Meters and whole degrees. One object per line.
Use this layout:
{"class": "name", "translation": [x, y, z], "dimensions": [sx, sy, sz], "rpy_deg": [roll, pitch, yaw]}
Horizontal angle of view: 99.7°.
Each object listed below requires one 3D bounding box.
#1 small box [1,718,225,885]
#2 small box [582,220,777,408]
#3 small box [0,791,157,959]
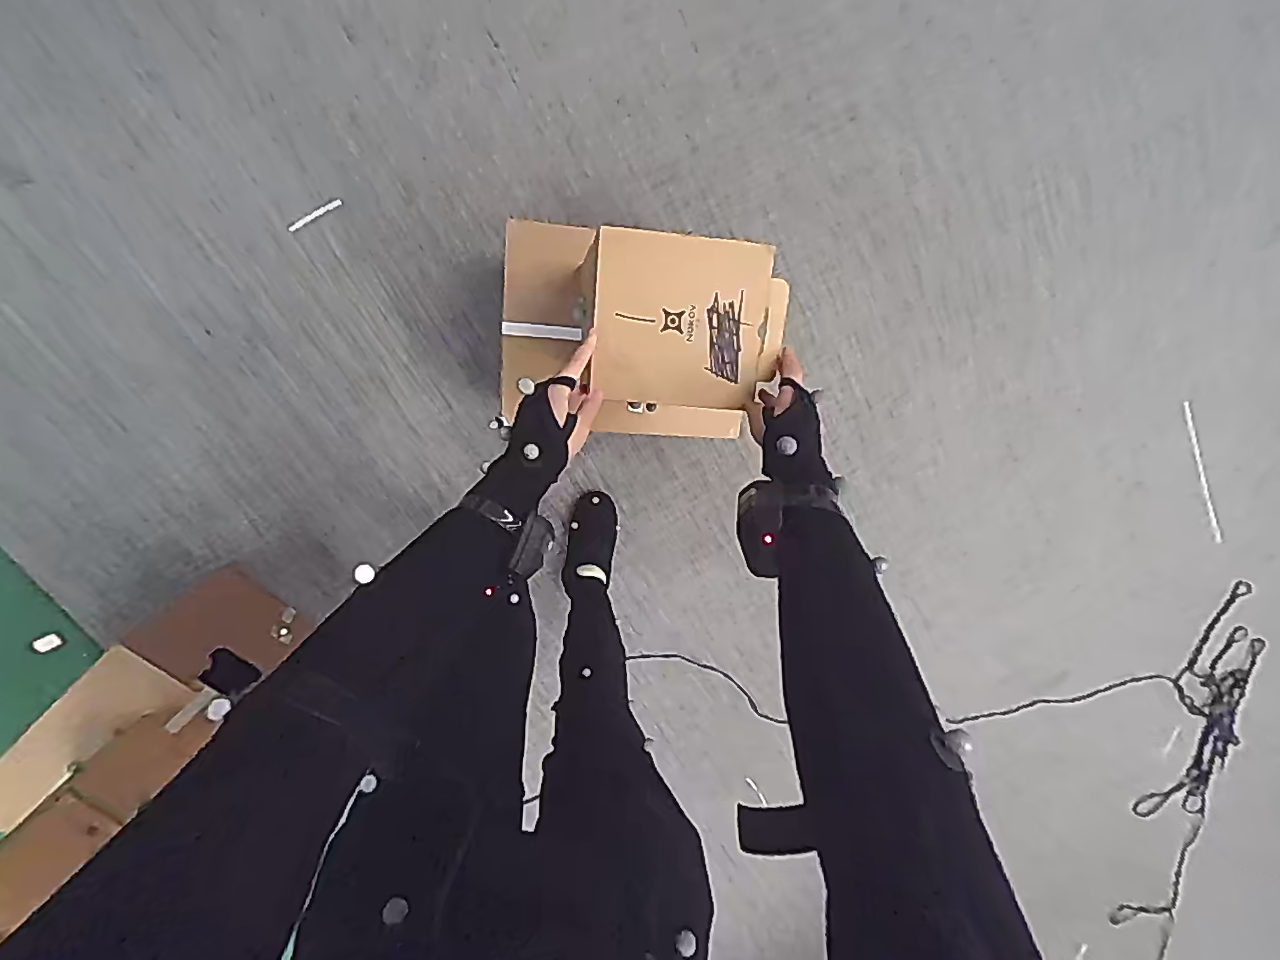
{"class": "small box", "translation": [-0.793, 0.504, 0.817], "dimensions": [0.168, 0.176, 0.179], "rpy_deg": [-38, 107, 1]}
{"class": "small box", "translation": [0.032, -0.180, 0.617], "dimensions": [0.179, 0.176, 0.168], "rpy_deg": [3, 103, -10]}
{"class": "small box", "translation": [-0.767, 0.536, 0.660], "dimensions": [0.179, 0.176, 0.168], "rpy_deg": [-37, 107, 0]}
